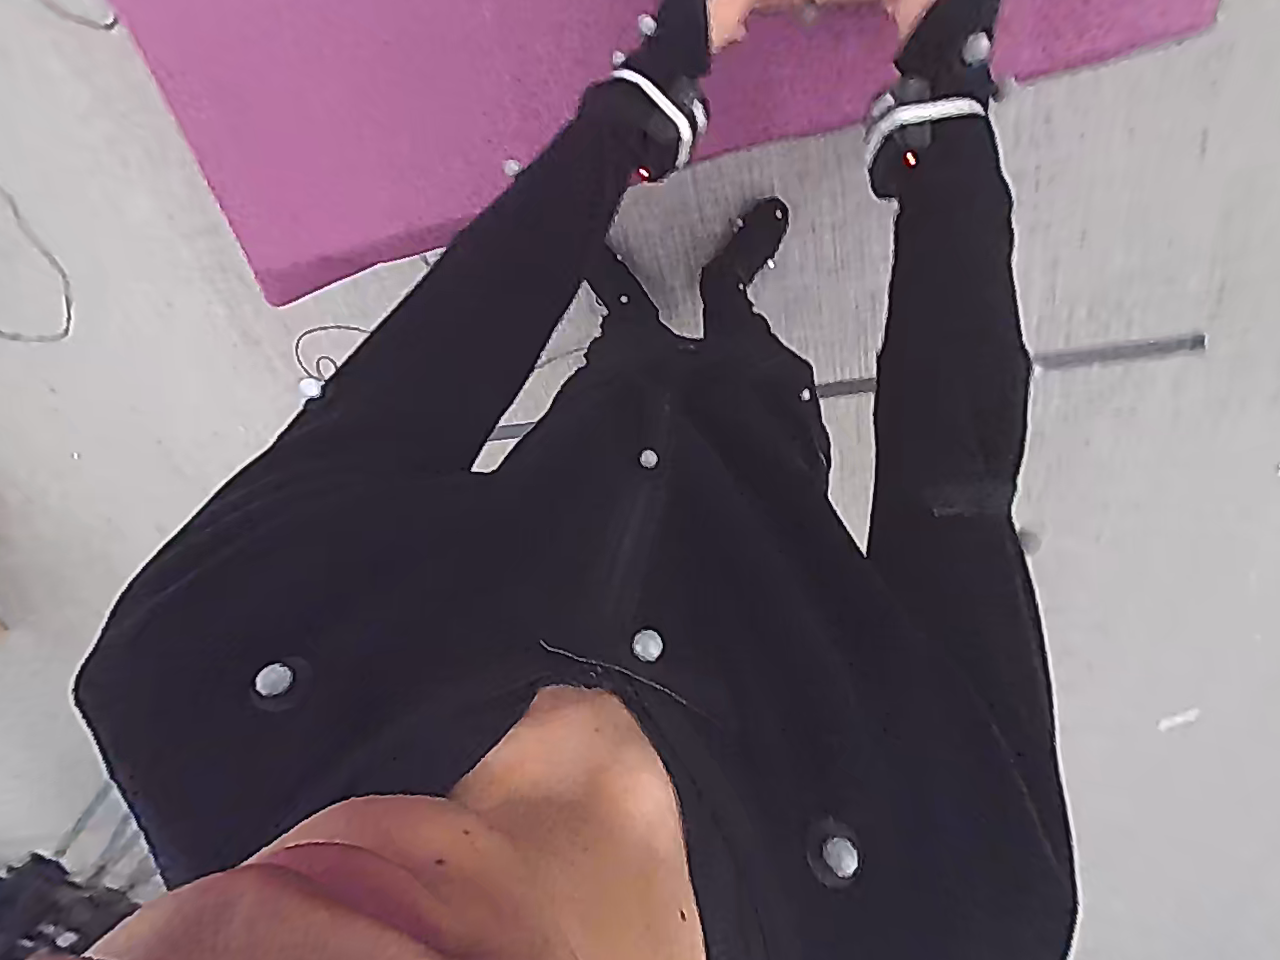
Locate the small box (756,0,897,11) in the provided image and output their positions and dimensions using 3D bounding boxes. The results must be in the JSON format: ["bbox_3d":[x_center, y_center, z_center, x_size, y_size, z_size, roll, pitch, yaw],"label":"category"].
[{"bbox_3d":[0.171,-0.522,0.450,0.168,0.176,0.179,9,126,15],"label":"small box"}]
